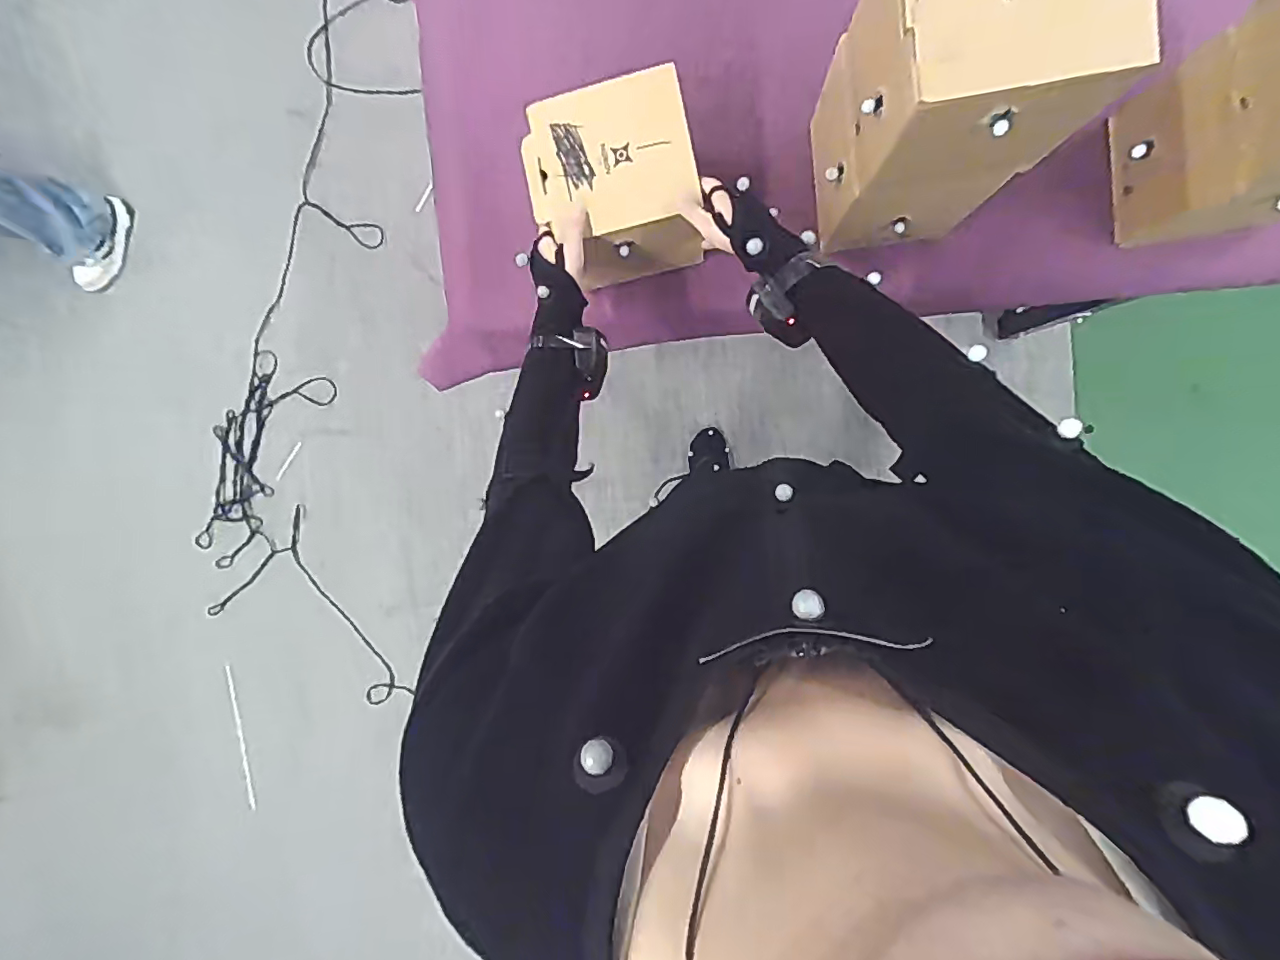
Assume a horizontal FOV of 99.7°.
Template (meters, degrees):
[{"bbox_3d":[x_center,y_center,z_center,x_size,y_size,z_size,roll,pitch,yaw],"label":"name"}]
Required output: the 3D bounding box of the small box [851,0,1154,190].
[{"bbox_3d":[0.300,-0.389,0.489,0.179,0.176,0.168,-6,94,8],"label":"small box"}]

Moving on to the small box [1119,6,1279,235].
[{"bbox_3d":[0.692,-0.396,0.602,0.179,0.176,0.168,-7,94,9],"label":"small box"}]

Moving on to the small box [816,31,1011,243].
[{"bbox_3d":[0.315,-0.404,0.651,0.168,0.176,0.179,-5,92,8],"label":"small box"}]

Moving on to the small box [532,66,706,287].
[{"bbox_3d":[-0.016,-0.367,0.692,0.179,0.176,0.168,-12,90,7],"label":"small box"}]
